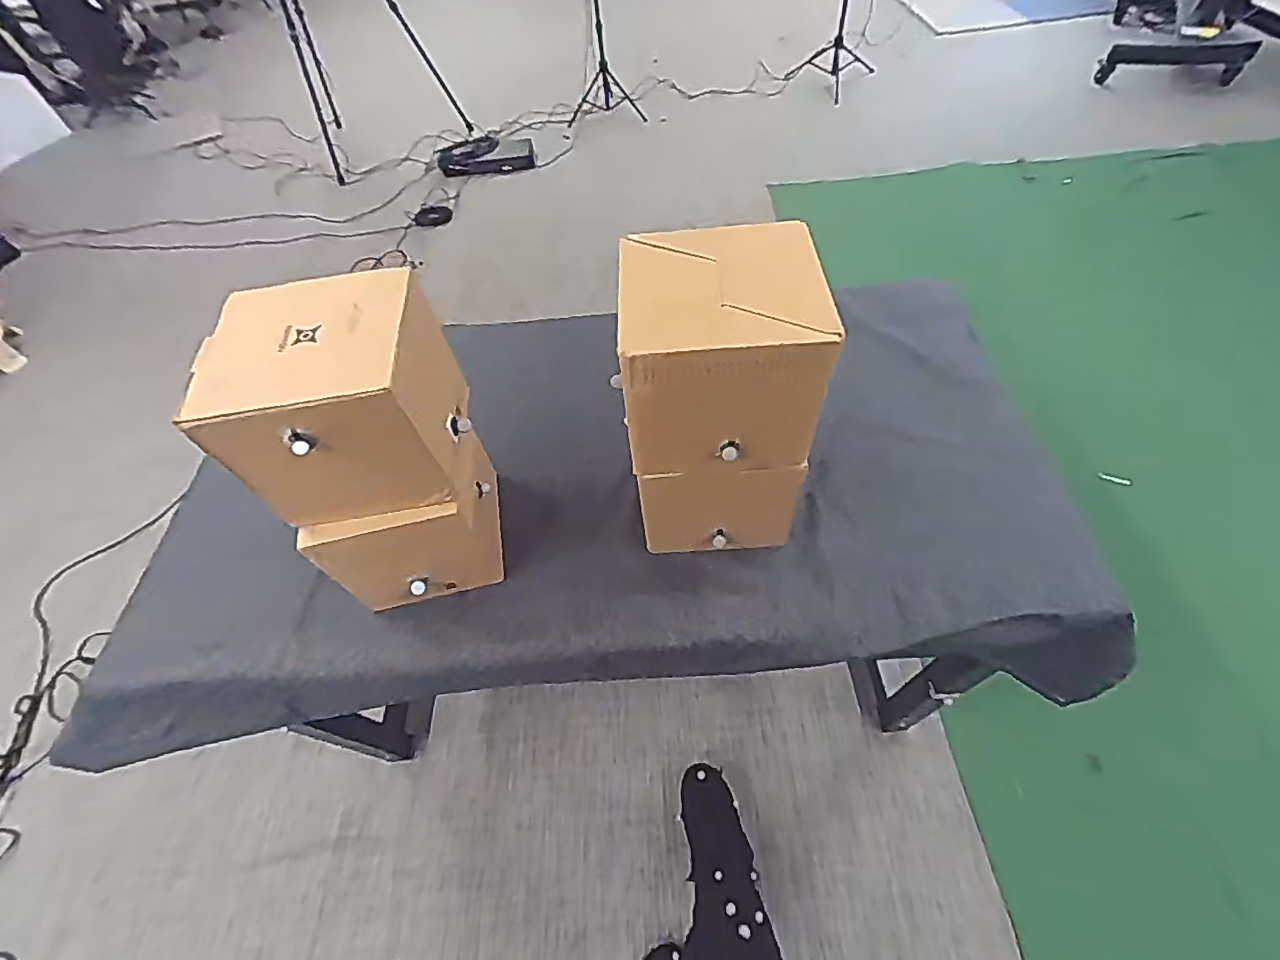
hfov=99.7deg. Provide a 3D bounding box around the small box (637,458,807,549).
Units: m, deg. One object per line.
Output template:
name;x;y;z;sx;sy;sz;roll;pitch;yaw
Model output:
small box;0.086;-0.027;0.658;0.179;0.176;0.168;-4;55;2

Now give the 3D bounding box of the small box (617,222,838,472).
small box;0.070;-0.126;0.522;0.179;0.176;0.168;-4;55;3

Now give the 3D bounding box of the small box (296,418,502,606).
small box;-0.274;0.027;0.654;0.168;0.176;0.179;-13;55;-3

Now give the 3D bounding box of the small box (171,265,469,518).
small box;-0.284;-0.078;0.530;0.179;0.176;0.168;-9;56;-2
